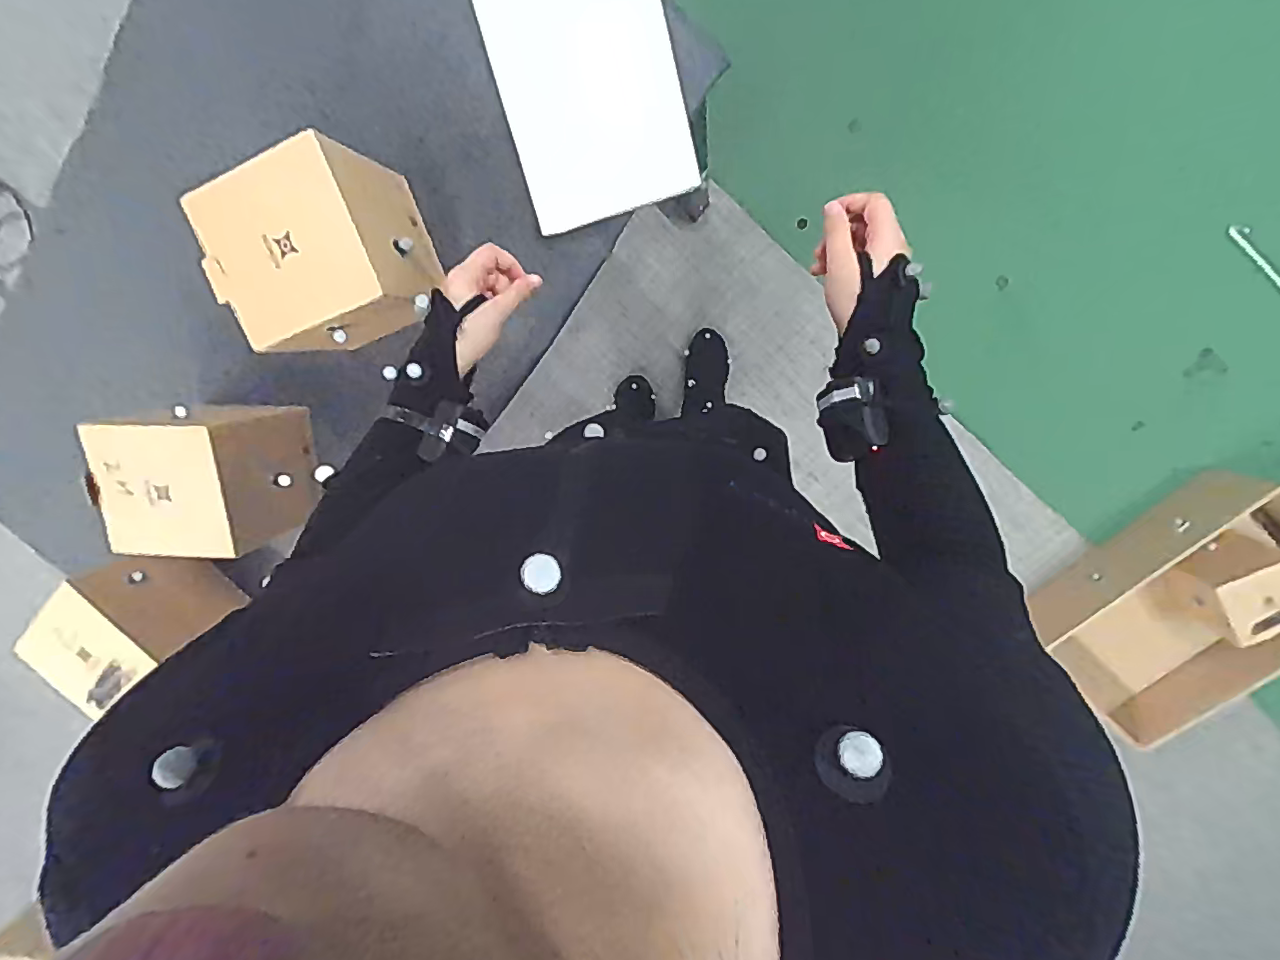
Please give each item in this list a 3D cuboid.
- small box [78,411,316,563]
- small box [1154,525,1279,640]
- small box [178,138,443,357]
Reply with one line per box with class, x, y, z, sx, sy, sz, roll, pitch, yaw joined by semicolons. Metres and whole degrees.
small box;-0.568;0.000;0.725;0.179;0.176;0.168;2;105;7
small box;1.388;0.235;1.275;0.168;0.176;0.179;-31;101;15
small box;-0.357;-0.254;0.628;0.179;0.176;0.168;-18;102;13
